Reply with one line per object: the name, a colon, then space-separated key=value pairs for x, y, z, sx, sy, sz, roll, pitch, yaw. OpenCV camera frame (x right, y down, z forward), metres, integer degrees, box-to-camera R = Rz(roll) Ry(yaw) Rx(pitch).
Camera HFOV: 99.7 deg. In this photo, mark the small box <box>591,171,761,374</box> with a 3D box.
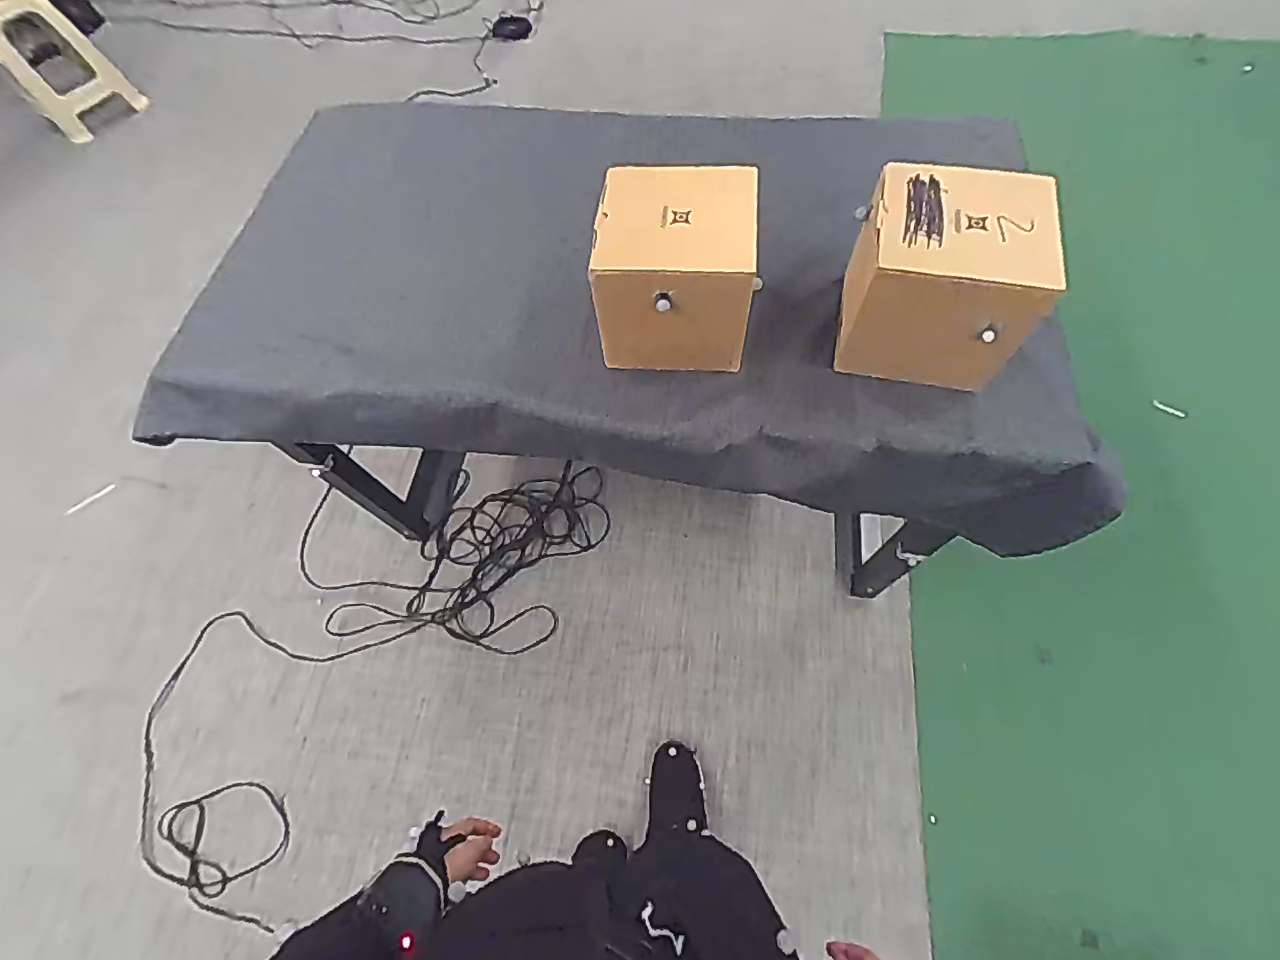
small box: x=0.048 y=-0.246 z=0.664 sx=0.179 sy=0.176 sz=0.168 roll=3 pitch=64 yaw=7
